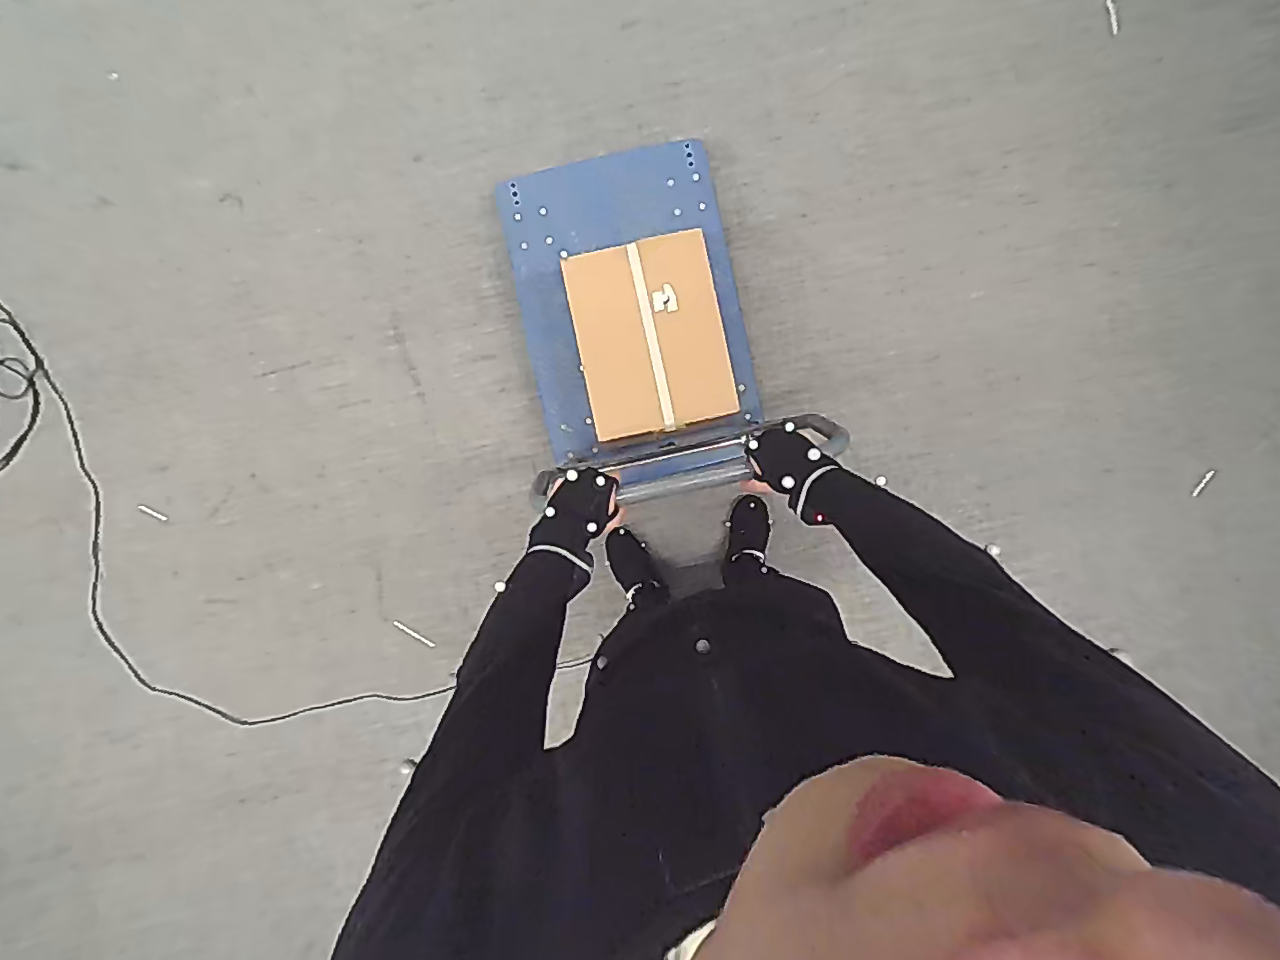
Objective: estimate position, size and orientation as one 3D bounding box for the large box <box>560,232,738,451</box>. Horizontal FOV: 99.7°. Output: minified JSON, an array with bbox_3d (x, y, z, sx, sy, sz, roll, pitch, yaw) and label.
[{"bbox_3d":[0.023,-0.305,1.304,0.320,0.320,0.408,-12,89,0],"label":"large box"}]
